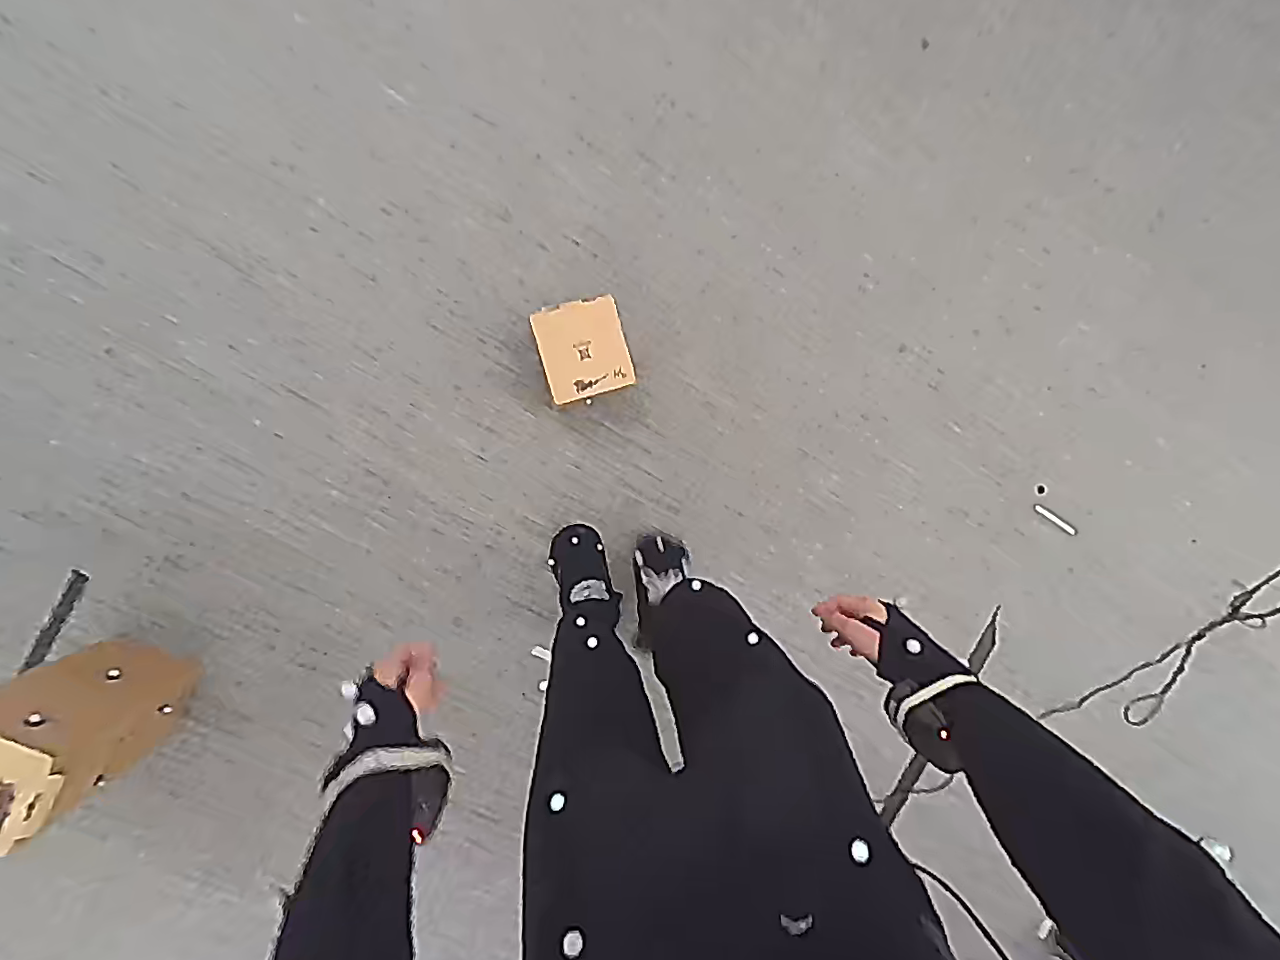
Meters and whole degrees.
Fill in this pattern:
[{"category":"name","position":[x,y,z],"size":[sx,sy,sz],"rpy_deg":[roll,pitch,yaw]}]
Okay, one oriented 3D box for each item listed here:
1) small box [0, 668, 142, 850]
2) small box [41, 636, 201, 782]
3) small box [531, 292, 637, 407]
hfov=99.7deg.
[{"category":"small box","position":[-0.958,0.425,0.852],"size":[0.179,0.176,0.168],"rpy_deg":[26,89,-9]},{"category":"small box","position":[-0.987,0.417,1.014],"size":[0.179,0.176,0.168],"rpy_deg":[25,89,-9]},{"category":"small box","position":[-0.118,-0.257,1.098],"size":[0.168,0.176,0.179],"rpy_deg":[-17,97,-8]}]
